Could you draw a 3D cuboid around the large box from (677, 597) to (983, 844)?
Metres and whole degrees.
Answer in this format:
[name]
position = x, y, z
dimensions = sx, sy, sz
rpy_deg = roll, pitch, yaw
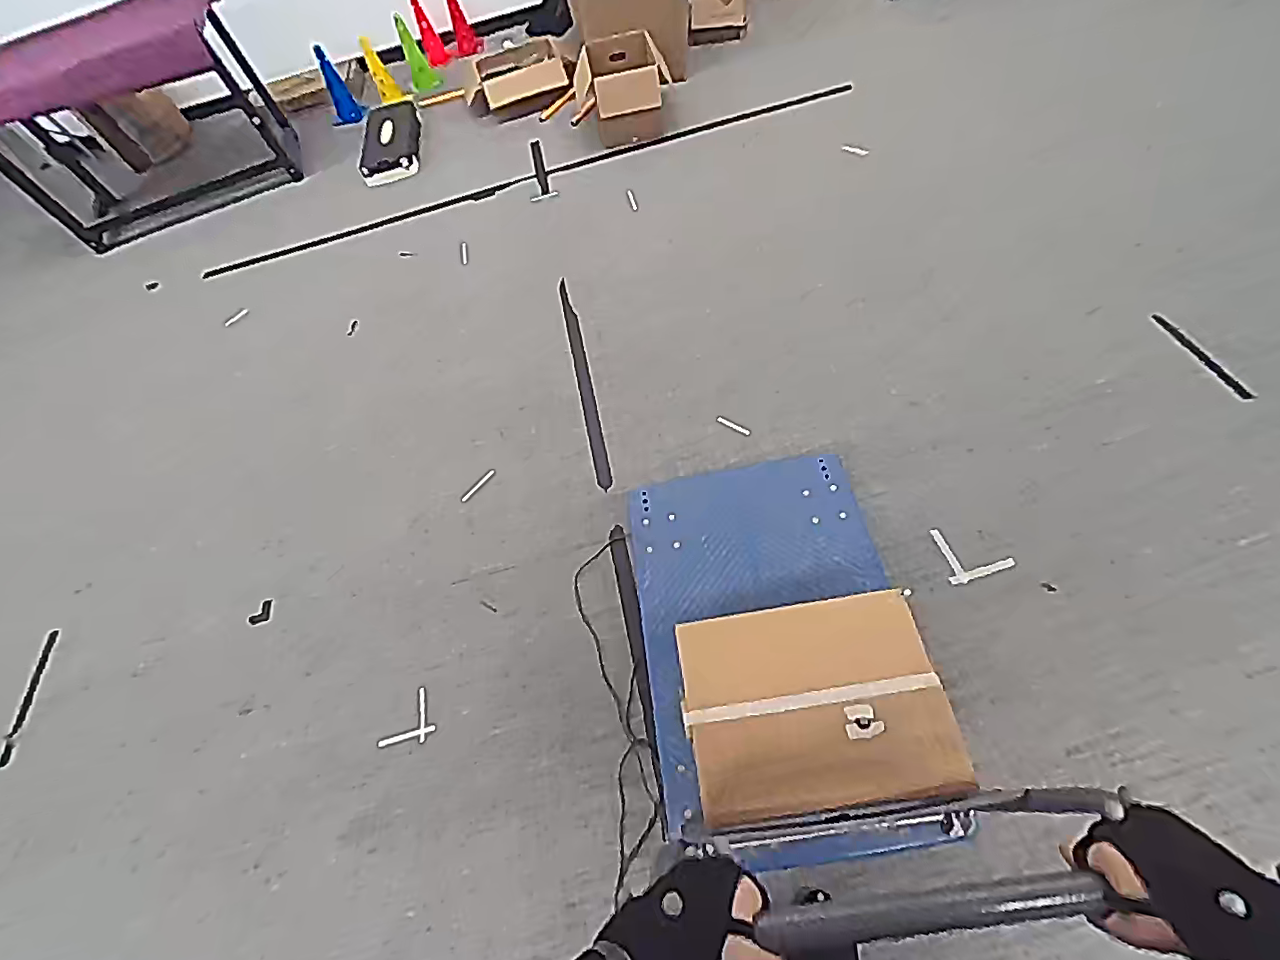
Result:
[large box]
position = 0.296, 0.442, 0.981
dimensions = 0.408, 0.320, 0.320
rpy_deg = -10, 58, 3
